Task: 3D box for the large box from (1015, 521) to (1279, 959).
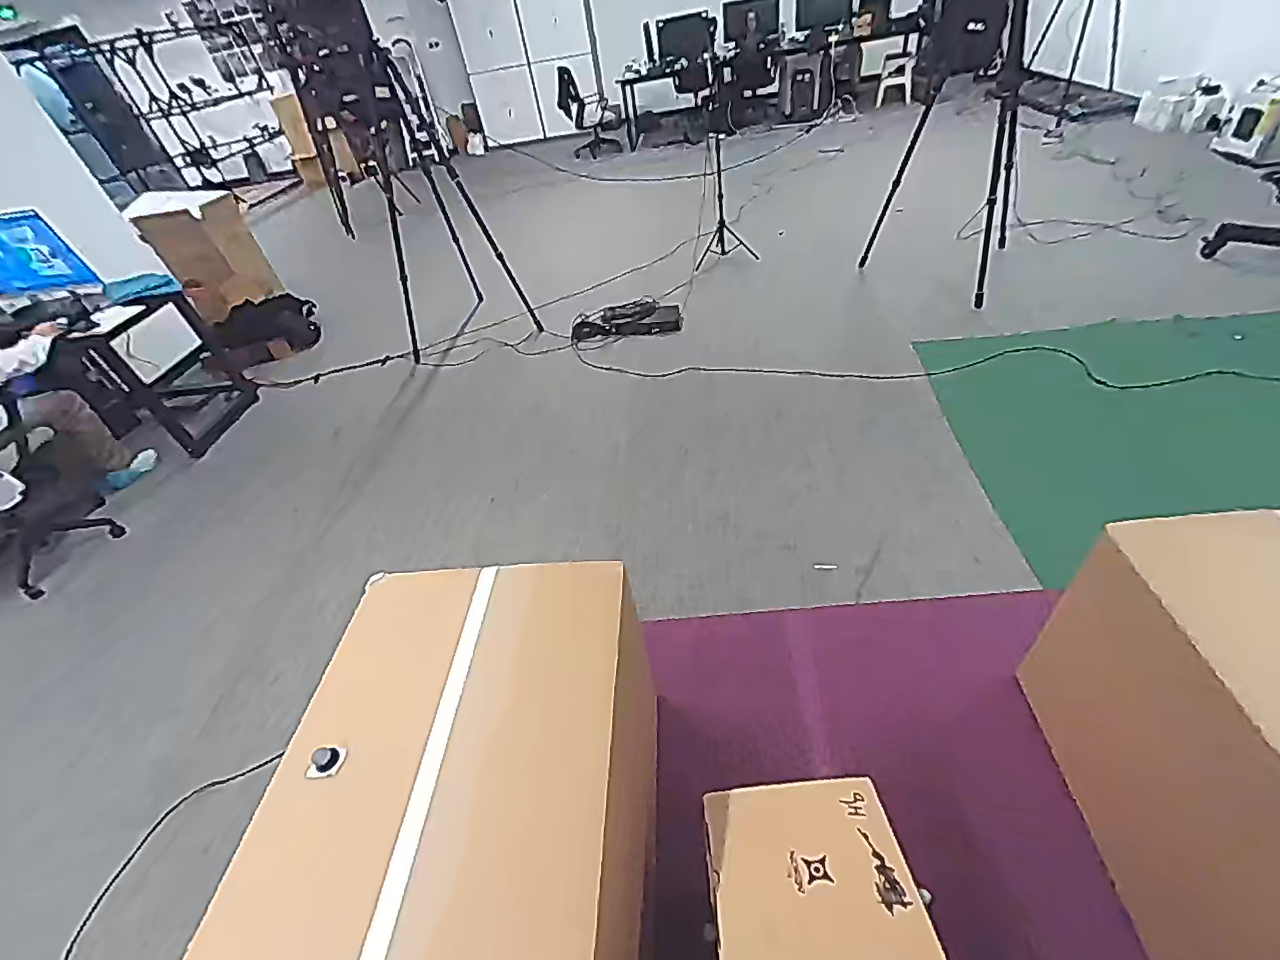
[{"bbox_3d":[0.641,0.285,0.497,0.320,0.320,0.408,-4,43,9],"label":"large box"}]
